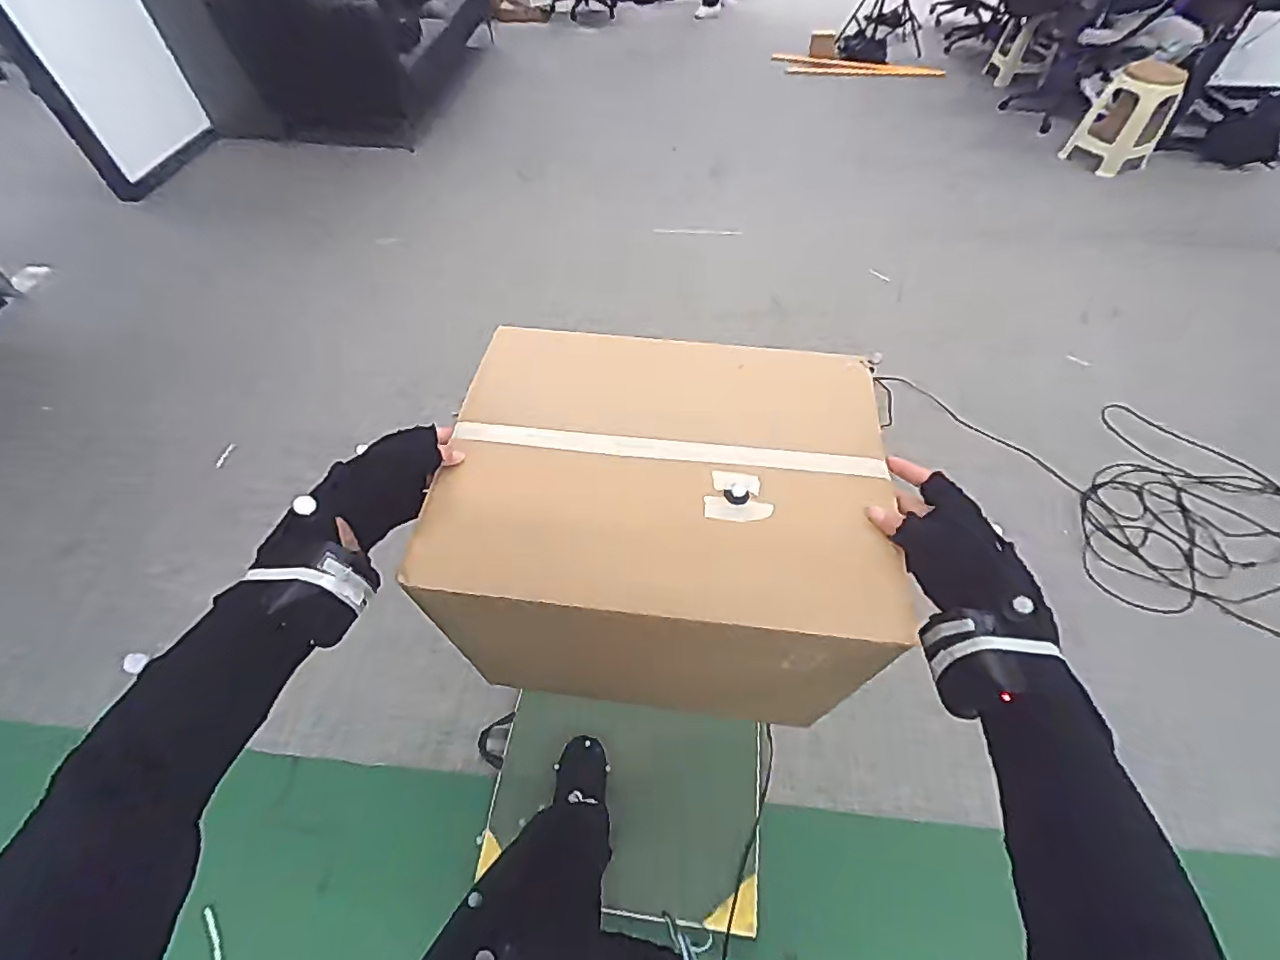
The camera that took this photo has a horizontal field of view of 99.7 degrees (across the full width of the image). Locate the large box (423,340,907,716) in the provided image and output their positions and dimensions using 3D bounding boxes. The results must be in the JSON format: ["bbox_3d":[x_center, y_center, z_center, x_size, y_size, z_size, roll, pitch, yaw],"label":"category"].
[{"bbox_3d":[0.028,0.066,0.642,0.408,0.320,0.320,6,56,3],"label":"large box"}]
